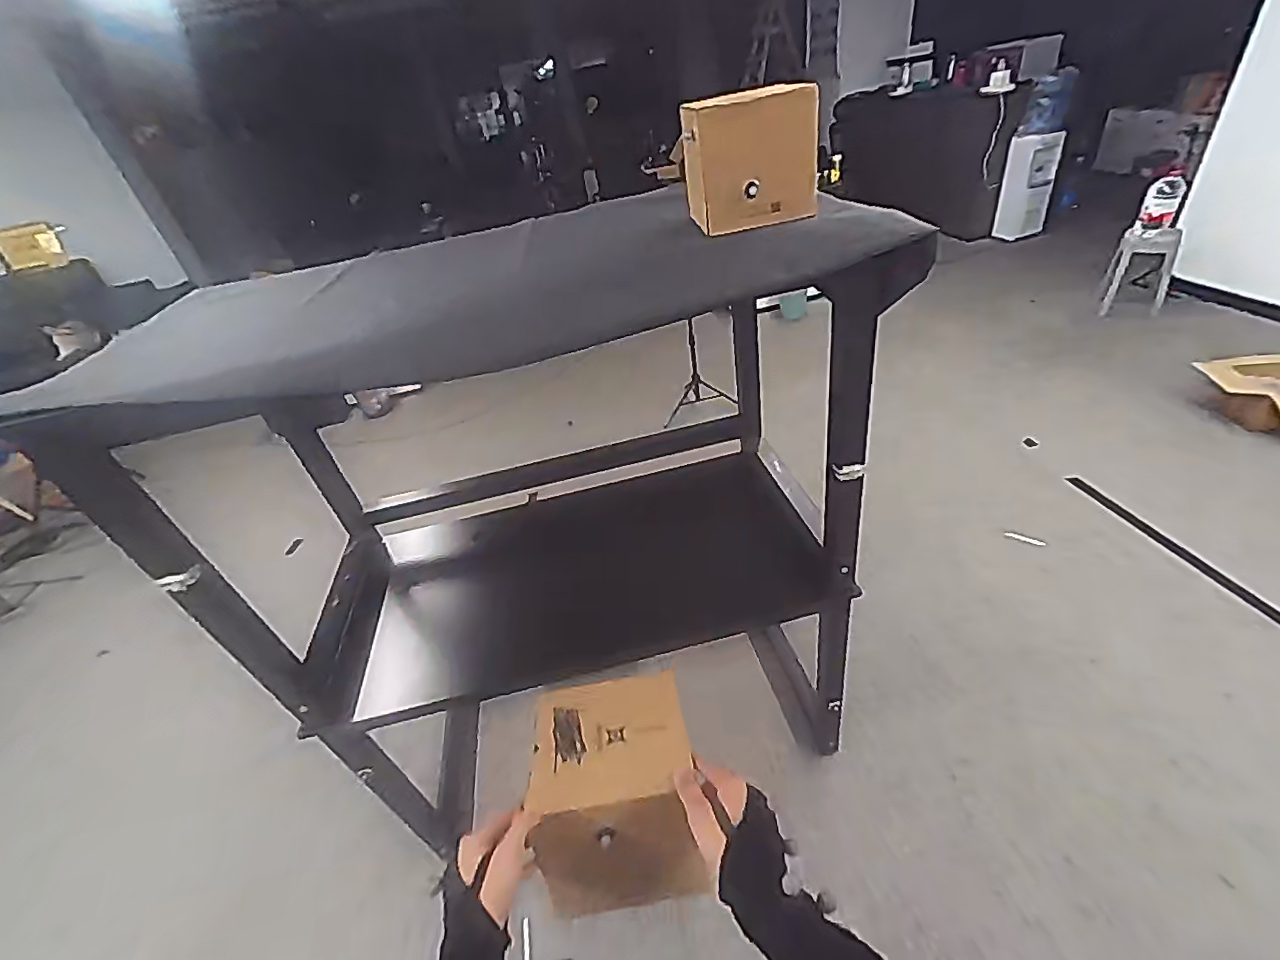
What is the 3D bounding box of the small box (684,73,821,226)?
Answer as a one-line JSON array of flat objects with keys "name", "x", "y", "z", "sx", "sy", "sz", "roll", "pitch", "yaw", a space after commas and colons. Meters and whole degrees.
[{"name": "small box", "x": 0.165, "y": -0.503, "z": 0.829, "sx": 0.168, "sy": 0.176, "sz": 0.179, "roll": -11, "pitch": 36, "yaw": 2}]
